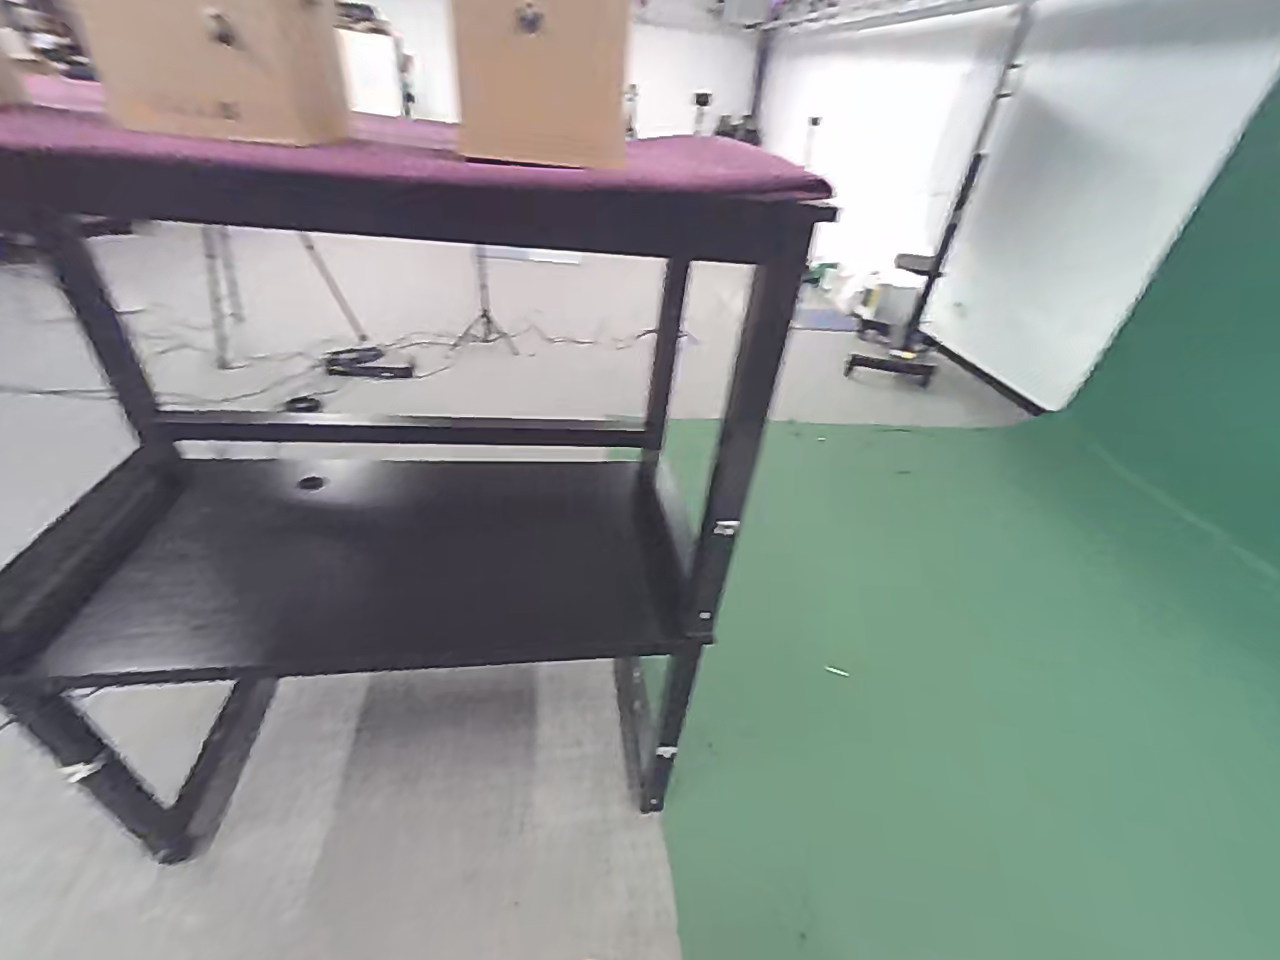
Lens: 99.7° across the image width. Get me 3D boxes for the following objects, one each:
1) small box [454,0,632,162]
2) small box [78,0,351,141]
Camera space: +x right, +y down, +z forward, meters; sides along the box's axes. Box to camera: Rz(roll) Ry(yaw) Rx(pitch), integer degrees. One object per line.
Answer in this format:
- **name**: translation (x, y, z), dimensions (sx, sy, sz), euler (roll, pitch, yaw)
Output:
- **small box**: translation (-0.106, -0.459, 0.603), dimensions (0.179, 0.176, 0.168), euler (0, 33, -10)
- **small box**: translation (-0.413, -0.451, 0.544), dimensions (0.168, 0.176, 0.179), euler (2, 35, -9)
